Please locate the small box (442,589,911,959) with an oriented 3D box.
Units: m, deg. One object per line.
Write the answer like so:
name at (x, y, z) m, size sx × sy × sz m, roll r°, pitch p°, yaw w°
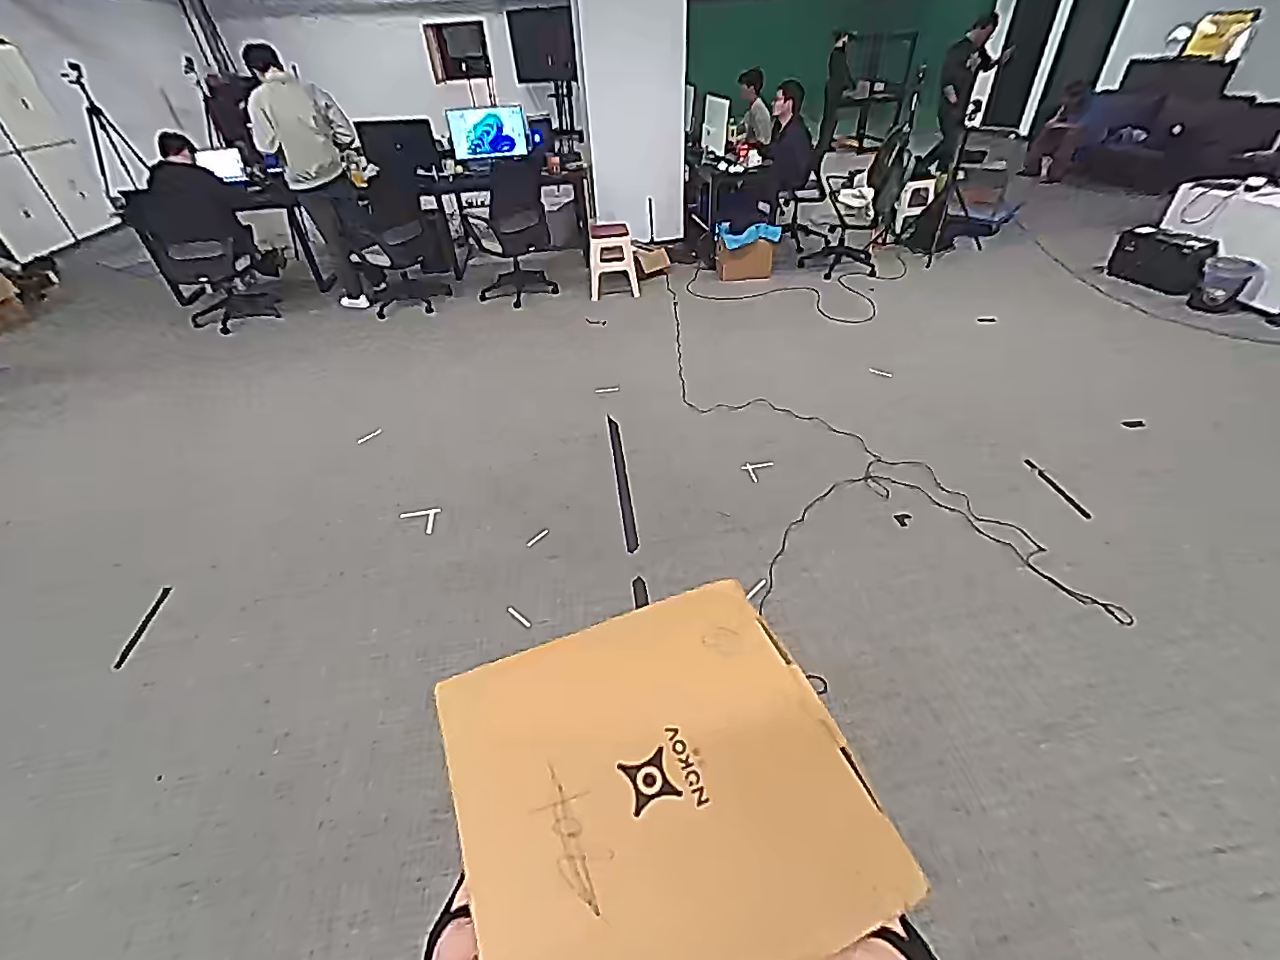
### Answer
small box at (0.006, 0.198, 0.313) m, size 0.179 × 0.176 × 0.168 m, roll -18°, pitch 49°, yaw -15°
